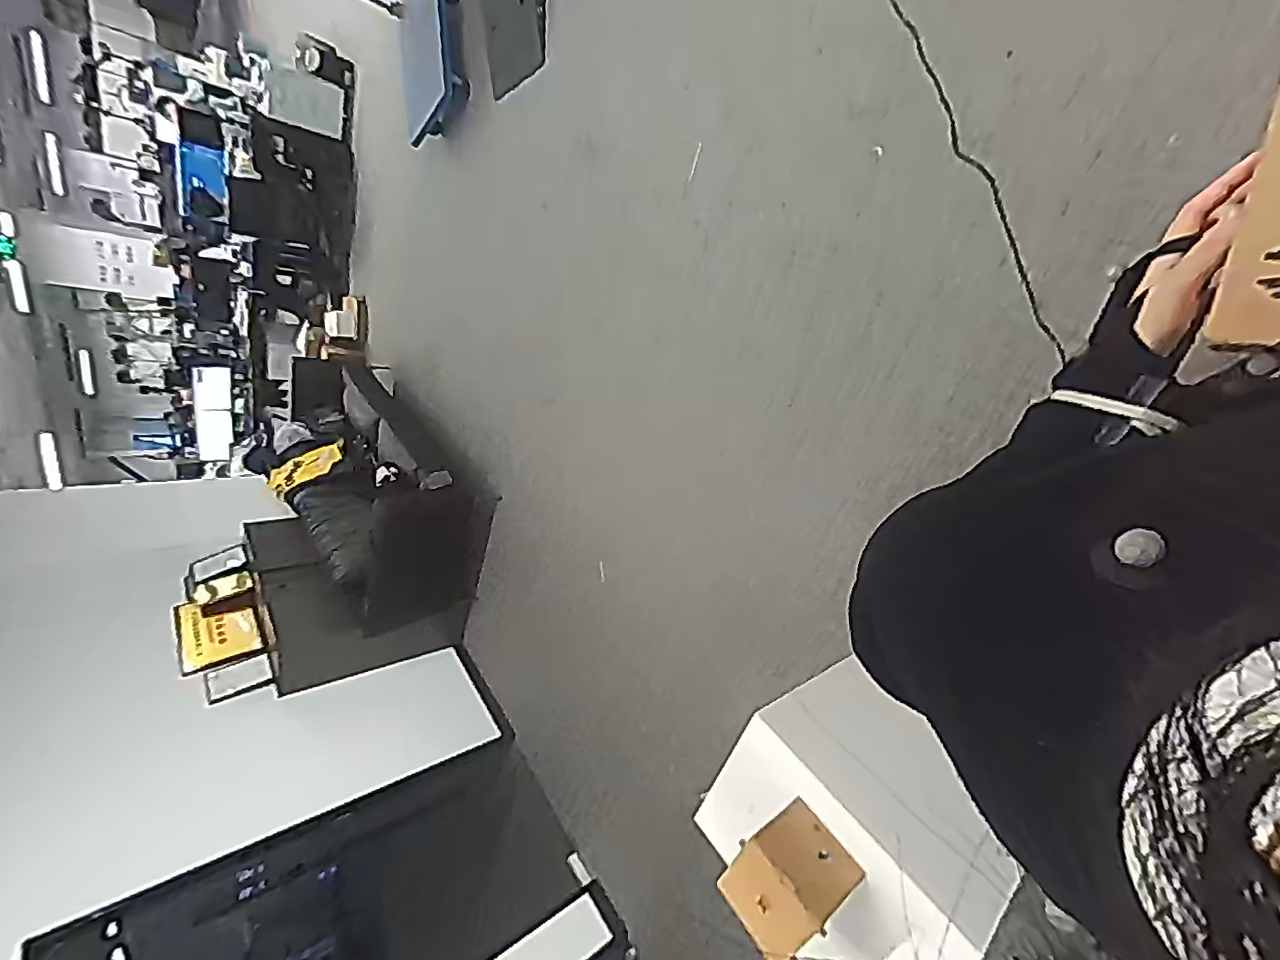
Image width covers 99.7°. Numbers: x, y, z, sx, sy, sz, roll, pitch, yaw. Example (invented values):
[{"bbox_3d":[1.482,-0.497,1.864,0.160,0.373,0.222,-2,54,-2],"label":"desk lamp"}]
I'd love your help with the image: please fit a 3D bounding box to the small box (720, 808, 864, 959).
[{"bbox_3d":[0.287,0.771,1.019,0.168,0.176,0.179,42,124,38],"label":"small box"}]
